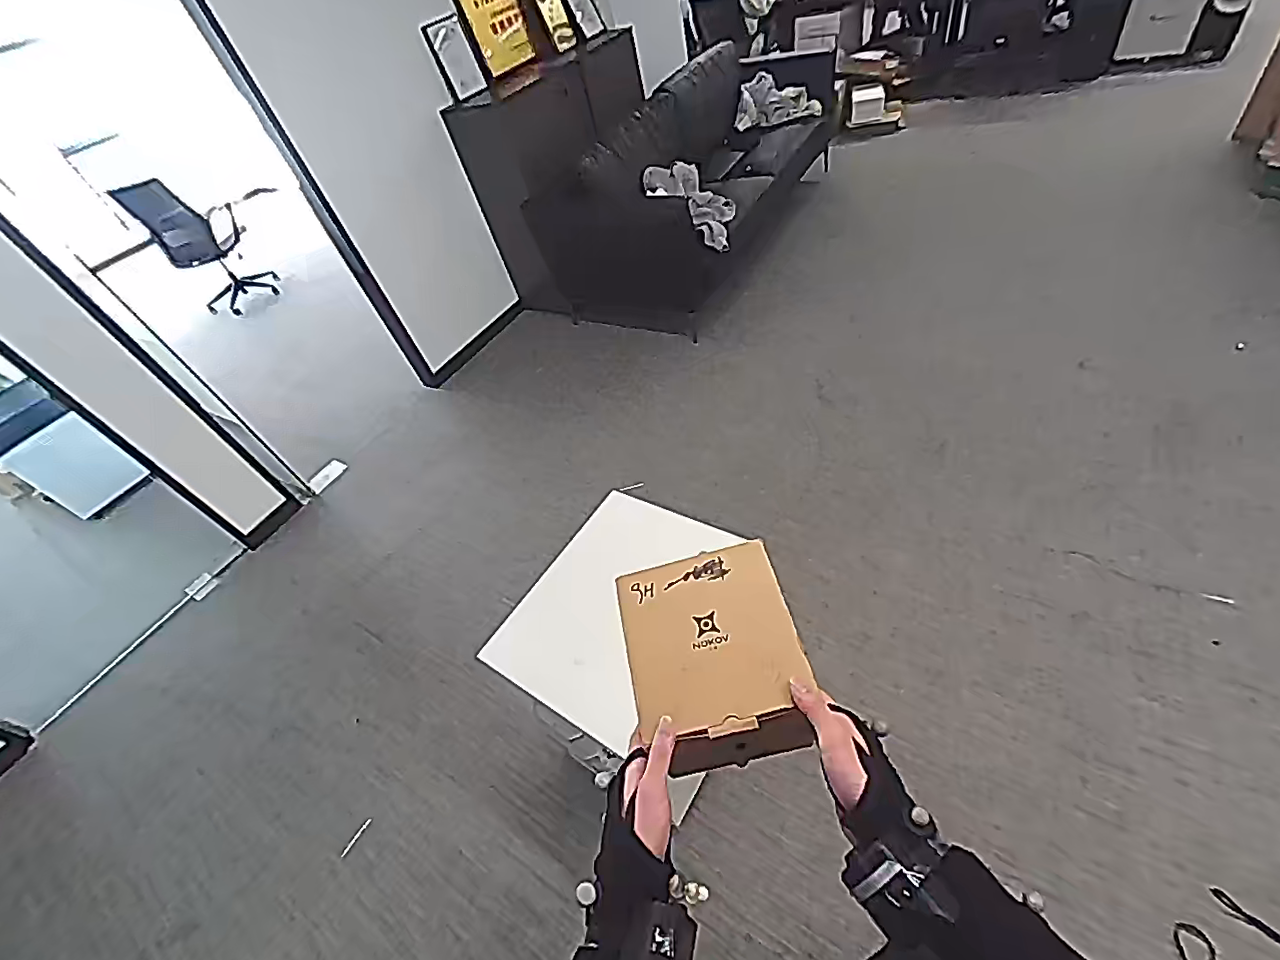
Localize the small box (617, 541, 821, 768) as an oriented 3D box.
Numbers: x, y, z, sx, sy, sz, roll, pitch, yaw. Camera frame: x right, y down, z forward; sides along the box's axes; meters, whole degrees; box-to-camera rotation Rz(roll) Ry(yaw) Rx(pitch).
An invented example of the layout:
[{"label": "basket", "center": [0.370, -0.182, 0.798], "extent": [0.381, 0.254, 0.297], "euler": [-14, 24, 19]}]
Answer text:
[{"label": "small box", "center": [0.087, 0.201, 0.598], "extent": [0.168, 0.176, 0.179], "euler": [-17, 50, 2]}]
